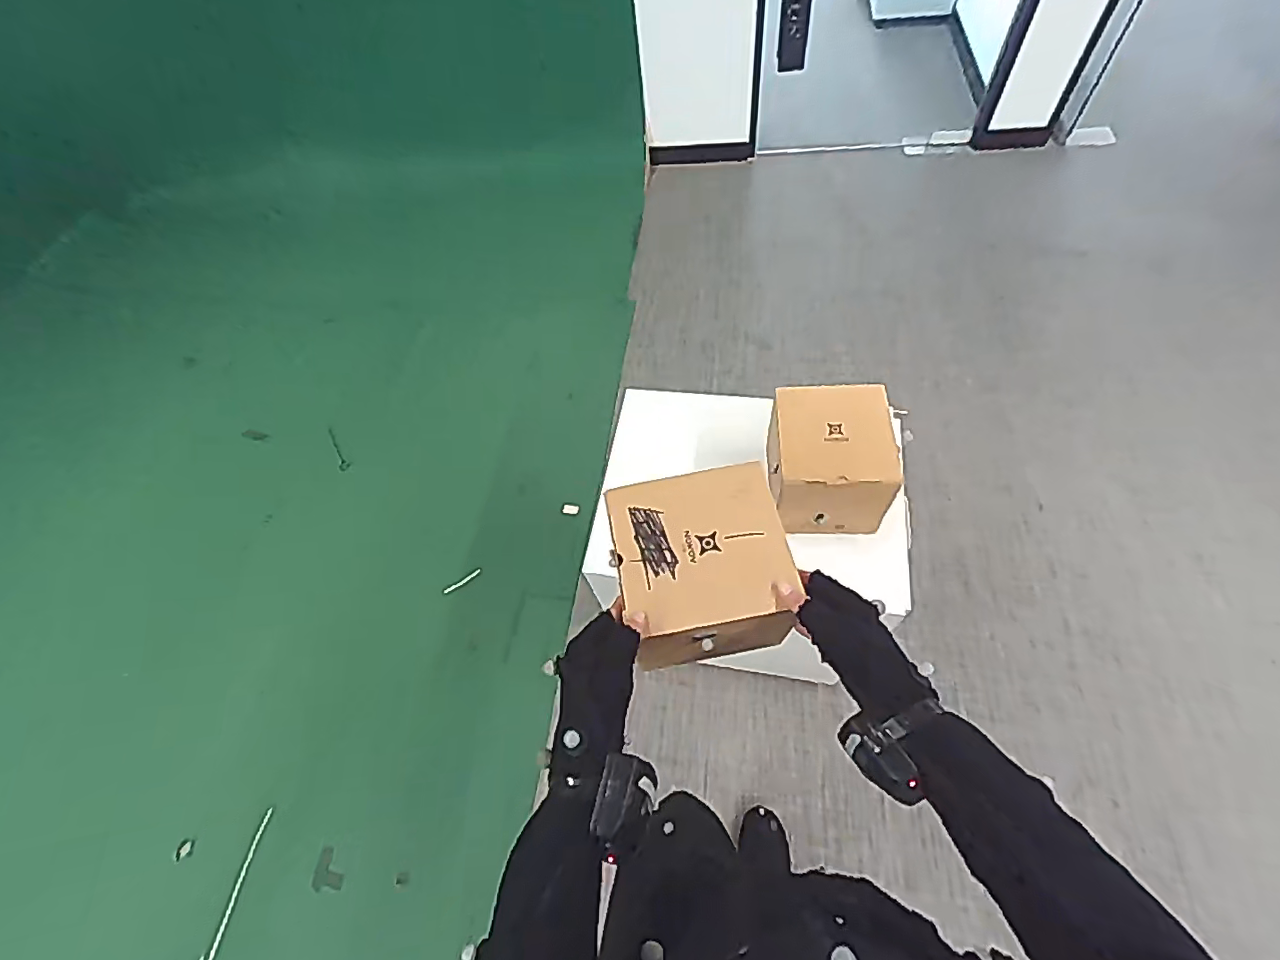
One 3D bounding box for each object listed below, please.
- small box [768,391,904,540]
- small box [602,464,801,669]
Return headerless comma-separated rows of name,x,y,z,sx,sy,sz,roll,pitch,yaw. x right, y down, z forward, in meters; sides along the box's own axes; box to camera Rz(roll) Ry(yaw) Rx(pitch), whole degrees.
small box,0.297,-0.020,0.861,0.168,0.176,0.179,-1,58,8
small box,0.064,0.107,0.618,0.179,0.176,0.168,-11,60,-1
